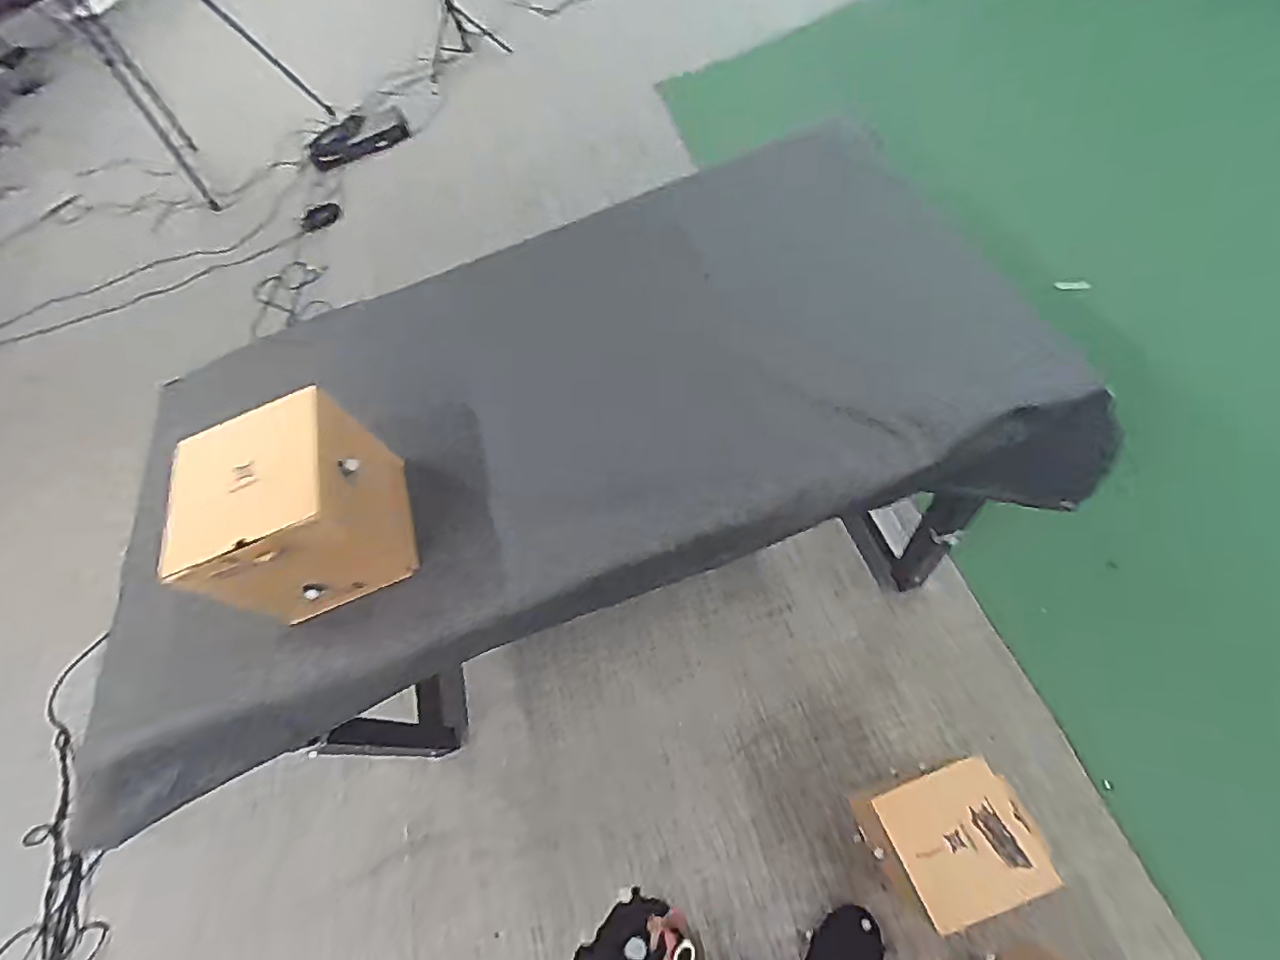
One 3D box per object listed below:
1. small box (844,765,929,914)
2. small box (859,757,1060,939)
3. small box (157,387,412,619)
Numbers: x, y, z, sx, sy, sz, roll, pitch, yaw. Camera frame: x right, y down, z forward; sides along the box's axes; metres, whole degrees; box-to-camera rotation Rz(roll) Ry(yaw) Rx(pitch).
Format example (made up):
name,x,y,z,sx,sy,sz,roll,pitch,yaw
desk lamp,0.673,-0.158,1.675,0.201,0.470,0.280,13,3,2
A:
name,x,y,z,sx,sy,sz,roll,pitch,yaw
small box,0.479,0.608,0.939,0.179,0.176,0.168,-24,58,1
small box,0.450,0.527,0.799,0.179,0.176,0.168,-24,58,1
small box,-0.385,0.033,0.615,0.168,0.176,0.179,-23,60,0
